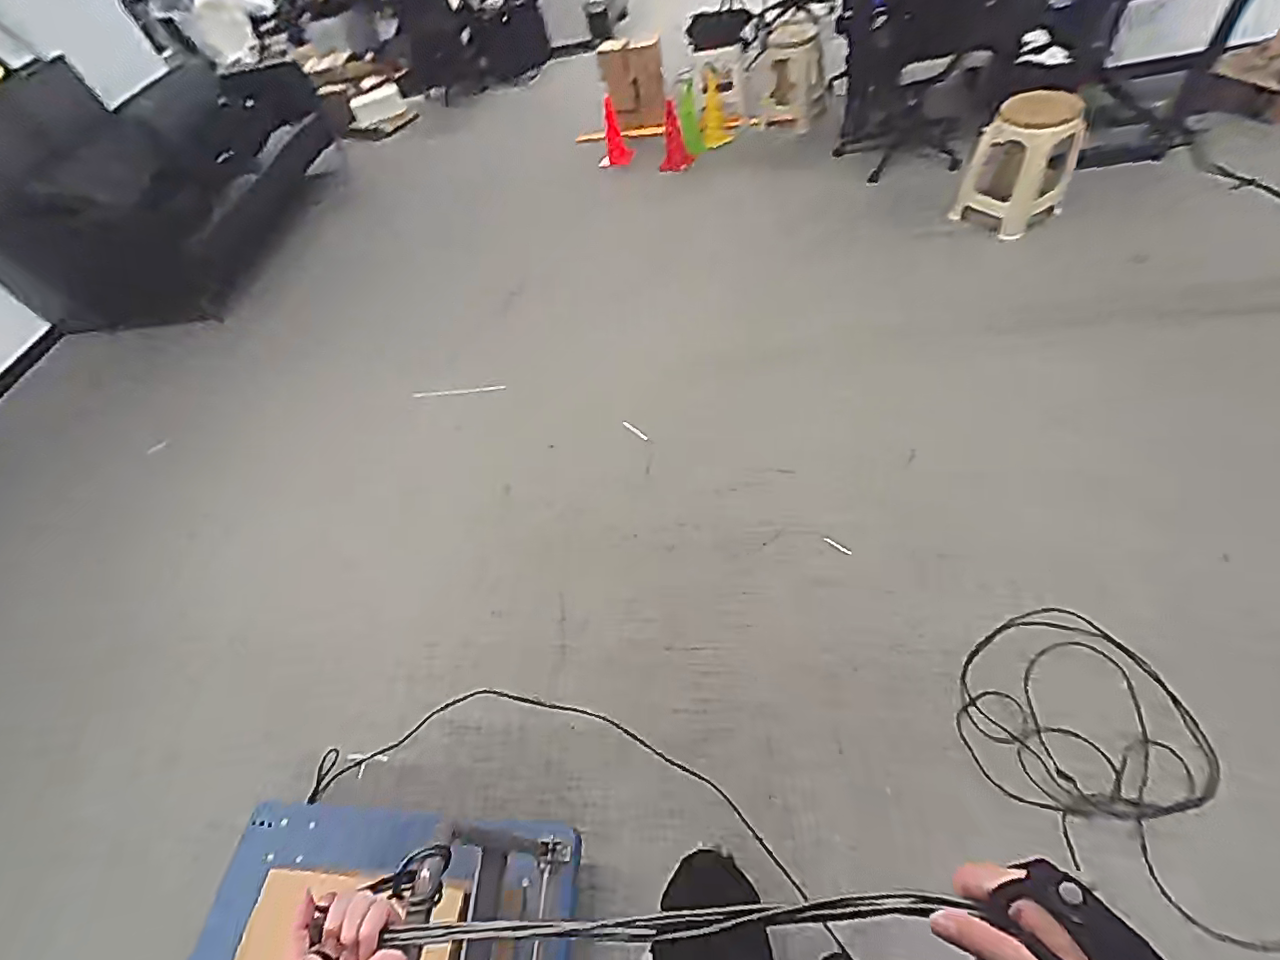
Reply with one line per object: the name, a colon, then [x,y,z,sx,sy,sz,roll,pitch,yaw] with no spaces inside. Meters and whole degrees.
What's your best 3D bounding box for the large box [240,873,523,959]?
large box: [-0.478,0.939,1.009,0.408,0.320,0.320,-3,53,12]
